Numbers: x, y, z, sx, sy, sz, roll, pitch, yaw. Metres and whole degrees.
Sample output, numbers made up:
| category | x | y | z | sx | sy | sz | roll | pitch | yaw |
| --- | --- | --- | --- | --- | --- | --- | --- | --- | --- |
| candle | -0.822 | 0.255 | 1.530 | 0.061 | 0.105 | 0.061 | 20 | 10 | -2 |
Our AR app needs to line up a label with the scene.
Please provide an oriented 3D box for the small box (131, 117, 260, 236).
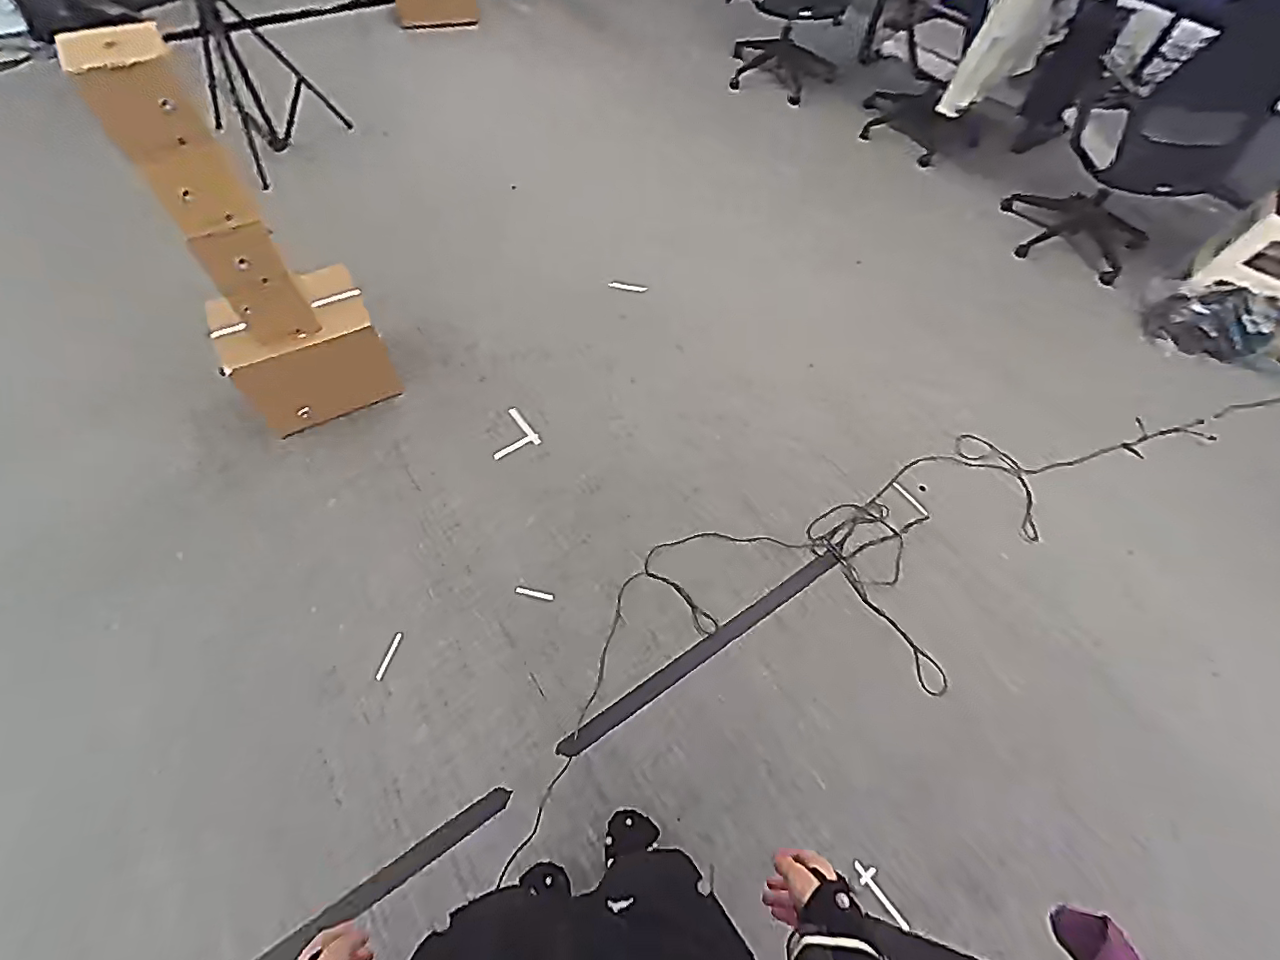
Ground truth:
| category | x | y | z | sx | sy | sz | roll | pitch | yaw |
| --- | --- | --- | --- | --- | --- | --- | --- | --- | --- |
| small box | -1.002 | -0.677 | 1.222 | 0.168 | 0.176 | 0.179 | -28 | 64 | -19 |

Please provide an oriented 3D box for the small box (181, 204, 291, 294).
| category | x | y | z | sx | sy | sz | roll | pitch | yaw |
| --- | --- | --- | --- | --- | --- | --- | --- | --- | --- |
| small box | -1.016 | -0.594 | 1.361 | 0.168 | 0.176 | 0.179 | -25 | 64 | -18 |

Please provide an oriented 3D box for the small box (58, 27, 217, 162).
| category | x | y | z | sx | sy | sz | roll | pitch | yaw |
| --- | --- | --- | --- | --- | --- | --- | --- | --- | --- |
| small box | -0.996 | -0.766 | 1.085 | 0.168 | 0.176 | 0.179 | -28 | 63 | -20 |
